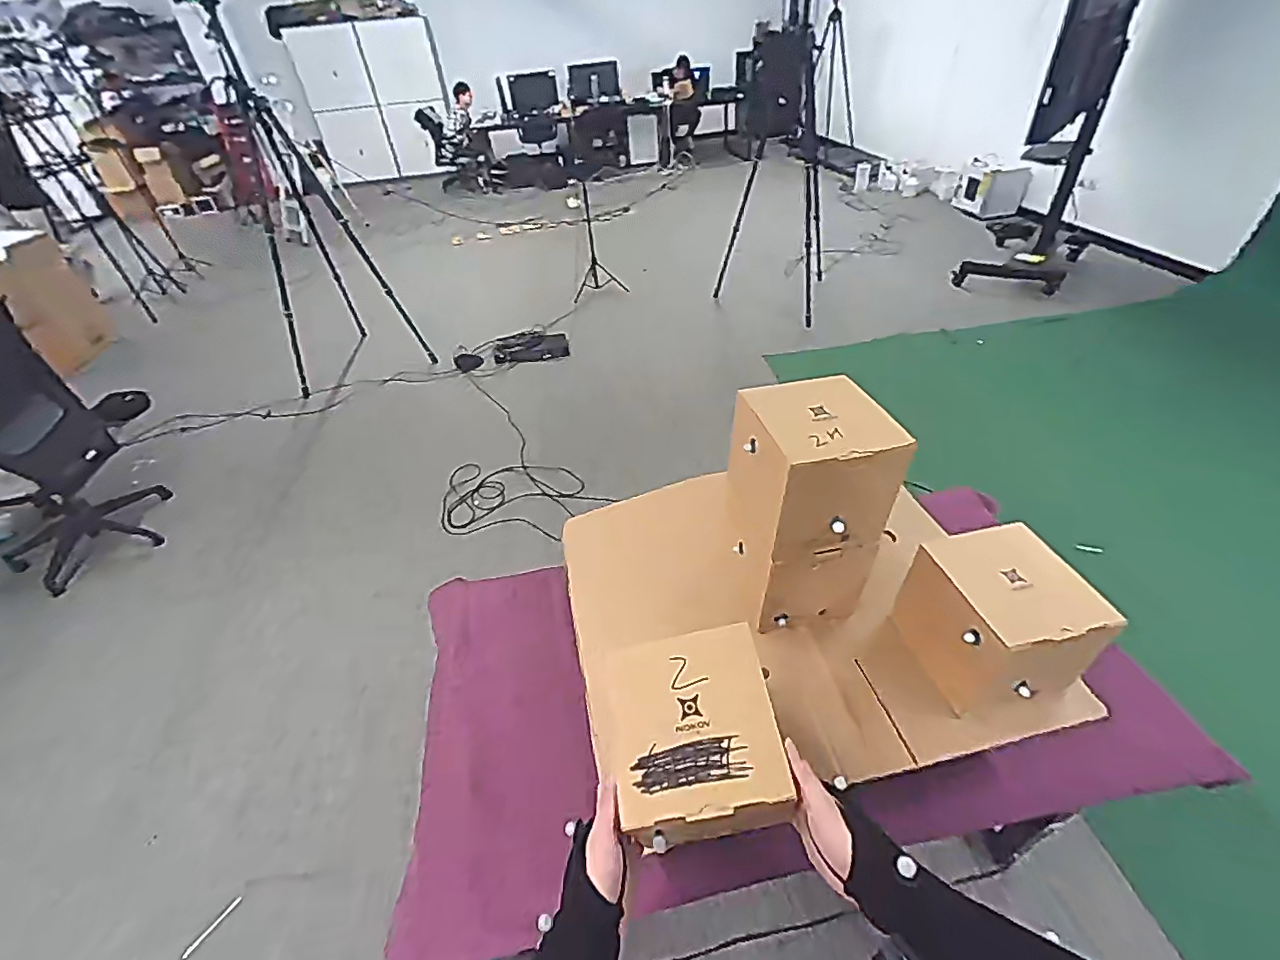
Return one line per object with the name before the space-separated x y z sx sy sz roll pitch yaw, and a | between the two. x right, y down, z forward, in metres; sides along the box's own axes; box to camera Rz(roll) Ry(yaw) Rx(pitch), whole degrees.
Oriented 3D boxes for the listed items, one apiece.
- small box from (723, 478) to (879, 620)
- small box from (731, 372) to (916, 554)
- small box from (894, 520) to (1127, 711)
small box | 0.239 0.100 0.848 0.168 0.176 0.179 -9 41 -9
small box | 0.233 -0.026 0.743 0.168 0.176 0.179 -10 42 -9
small box | 0.484 0.184 0.744 0.168 0.176 0.179 -10 42 -8
